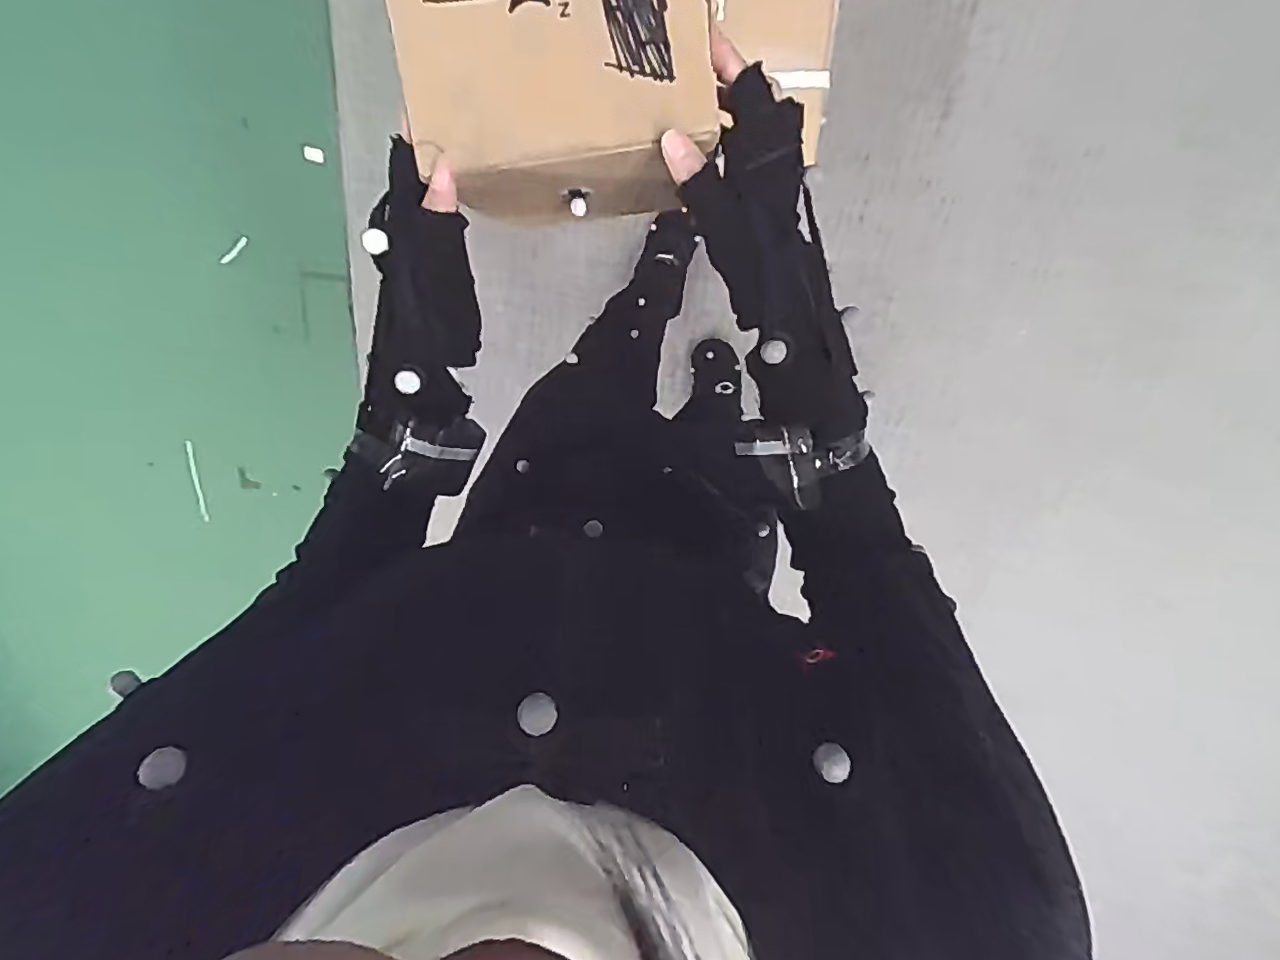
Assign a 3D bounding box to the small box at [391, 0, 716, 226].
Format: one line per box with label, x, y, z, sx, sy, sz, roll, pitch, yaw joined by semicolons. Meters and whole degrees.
small box;-0.044;-0.284;0.368;0.179;0.176;0.168;-4;104;8
